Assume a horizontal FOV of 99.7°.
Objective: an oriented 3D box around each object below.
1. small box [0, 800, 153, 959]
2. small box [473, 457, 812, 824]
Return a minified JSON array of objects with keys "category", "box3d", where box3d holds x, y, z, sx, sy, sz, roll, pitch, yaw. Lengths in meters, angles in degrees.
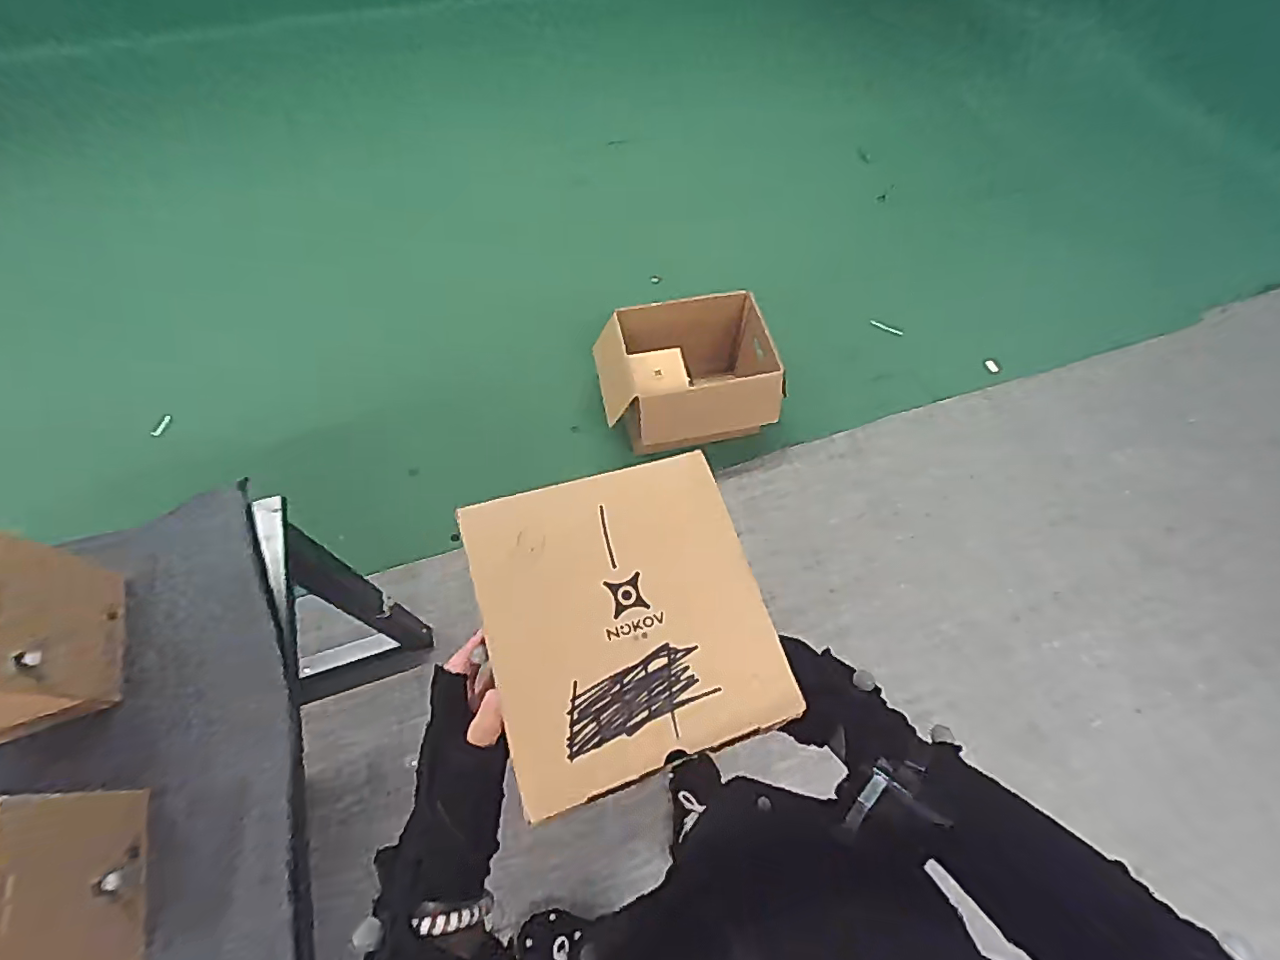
[{"category":"small box","box3d":[-0.581,0.398,0.463,0.179,0.176,0.168,-18,64,-11]},{"category":"small box","box3d":[-0.013,0.108,0.390,0.168,0.176,0.179,-13,71,-16]}]
